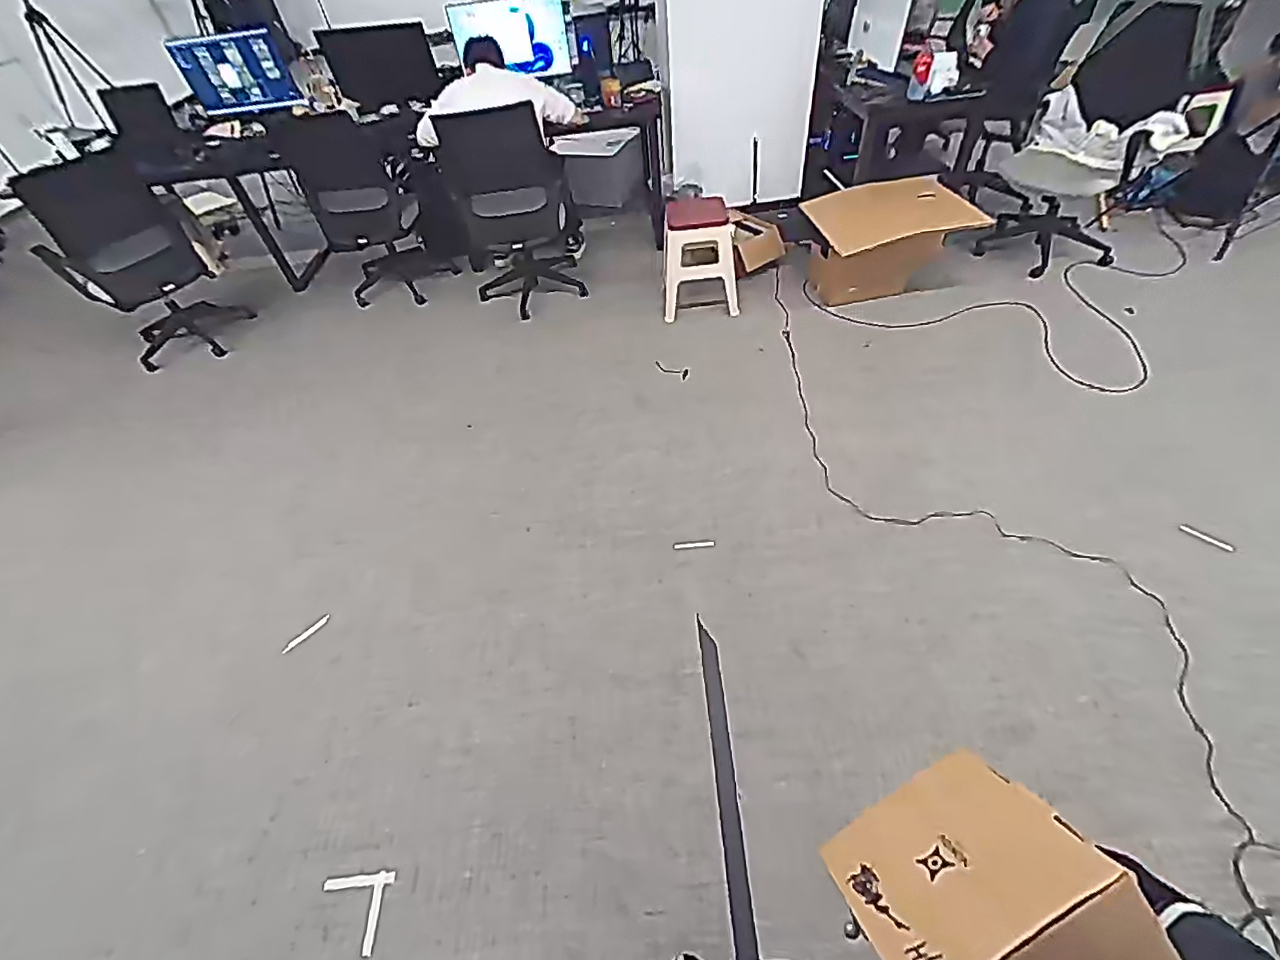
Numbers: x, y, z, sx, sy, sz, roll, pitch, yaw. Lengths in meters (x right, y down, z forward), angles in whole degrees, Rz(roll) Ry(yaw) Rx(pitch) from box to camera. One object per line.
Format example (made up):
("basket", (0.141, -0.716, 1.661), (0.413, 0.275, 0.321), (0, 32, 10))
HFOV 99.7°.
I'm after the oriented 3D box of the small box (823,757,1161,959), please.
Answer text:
("small box", (0.296, 0.387, 0.454), (0.179, 0.168, 0.176), (-31, 92, -3))
